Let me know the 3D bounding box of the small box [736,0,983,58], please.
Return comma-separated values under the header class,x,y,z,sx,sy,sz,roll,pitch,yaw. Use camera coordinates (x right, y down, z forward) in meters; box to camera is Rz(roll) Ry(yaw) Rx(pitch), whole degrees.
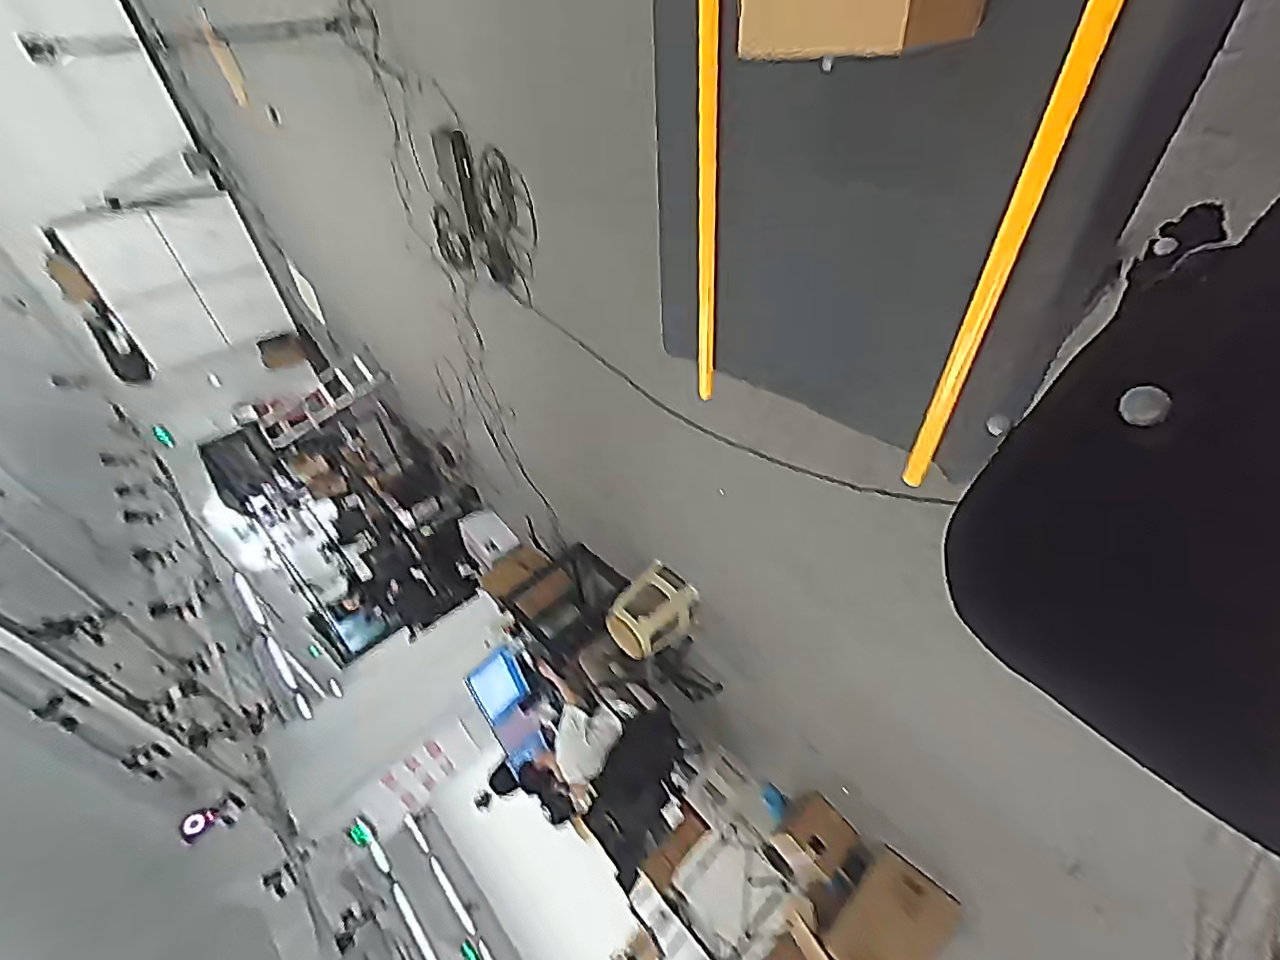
class,x,y,z,sx,sy,sz,roll,pitch,yaw
small box,0.210,-0.503,0.498,0.179,0.176,0.168,30,143,36
